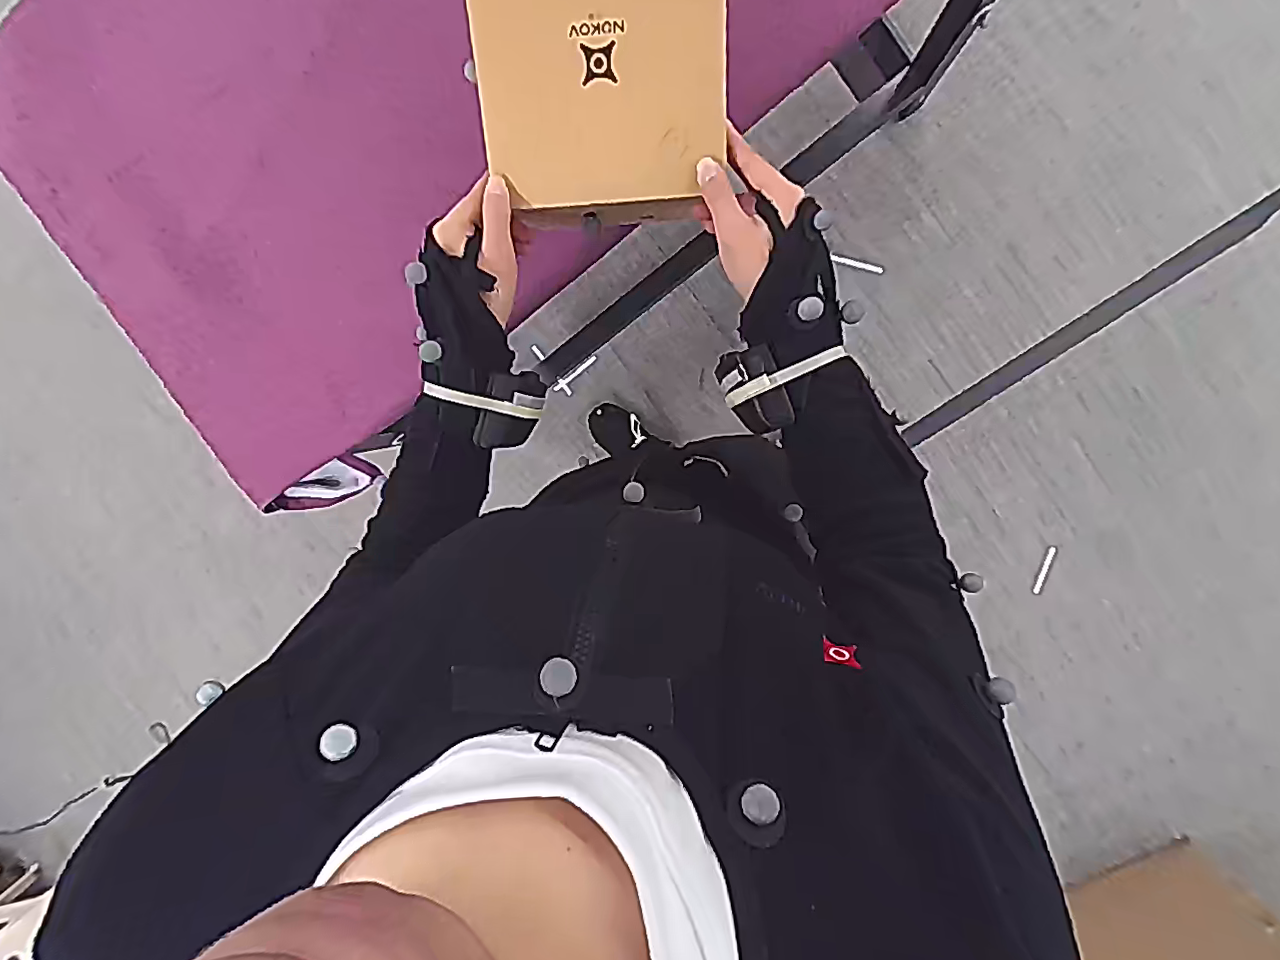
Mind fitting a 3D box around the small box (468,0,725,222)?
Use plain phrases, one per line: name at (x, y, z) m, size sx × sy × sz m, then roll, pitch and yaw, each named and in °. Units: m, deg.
small box at (-0.021, -0.304, 0.421) m, size 0.168 × 0.176 × 0.179 m, roll -2°, pitch 109°, yaw 4°
